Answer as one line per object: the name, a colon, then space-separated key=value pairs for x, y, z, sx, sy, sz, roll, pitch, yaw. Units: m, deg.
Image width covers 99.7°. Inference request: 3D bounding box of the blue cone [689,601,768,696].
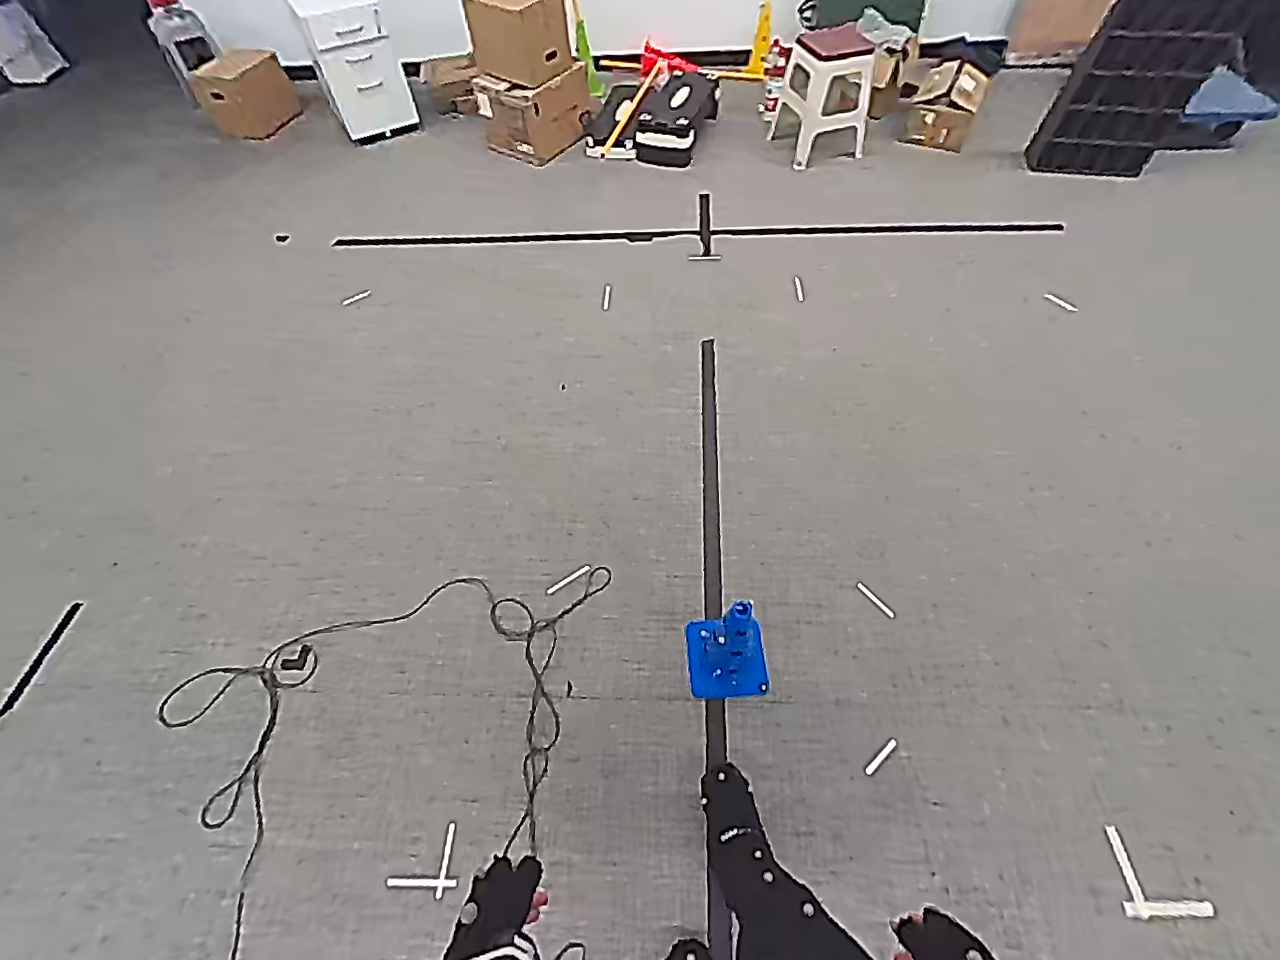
blue cone: x=0.224 y=0.373 z=1.280 sx=0.192 sy=0.380 sz=0.193 roll=-1 pitch=56 yaw=1
